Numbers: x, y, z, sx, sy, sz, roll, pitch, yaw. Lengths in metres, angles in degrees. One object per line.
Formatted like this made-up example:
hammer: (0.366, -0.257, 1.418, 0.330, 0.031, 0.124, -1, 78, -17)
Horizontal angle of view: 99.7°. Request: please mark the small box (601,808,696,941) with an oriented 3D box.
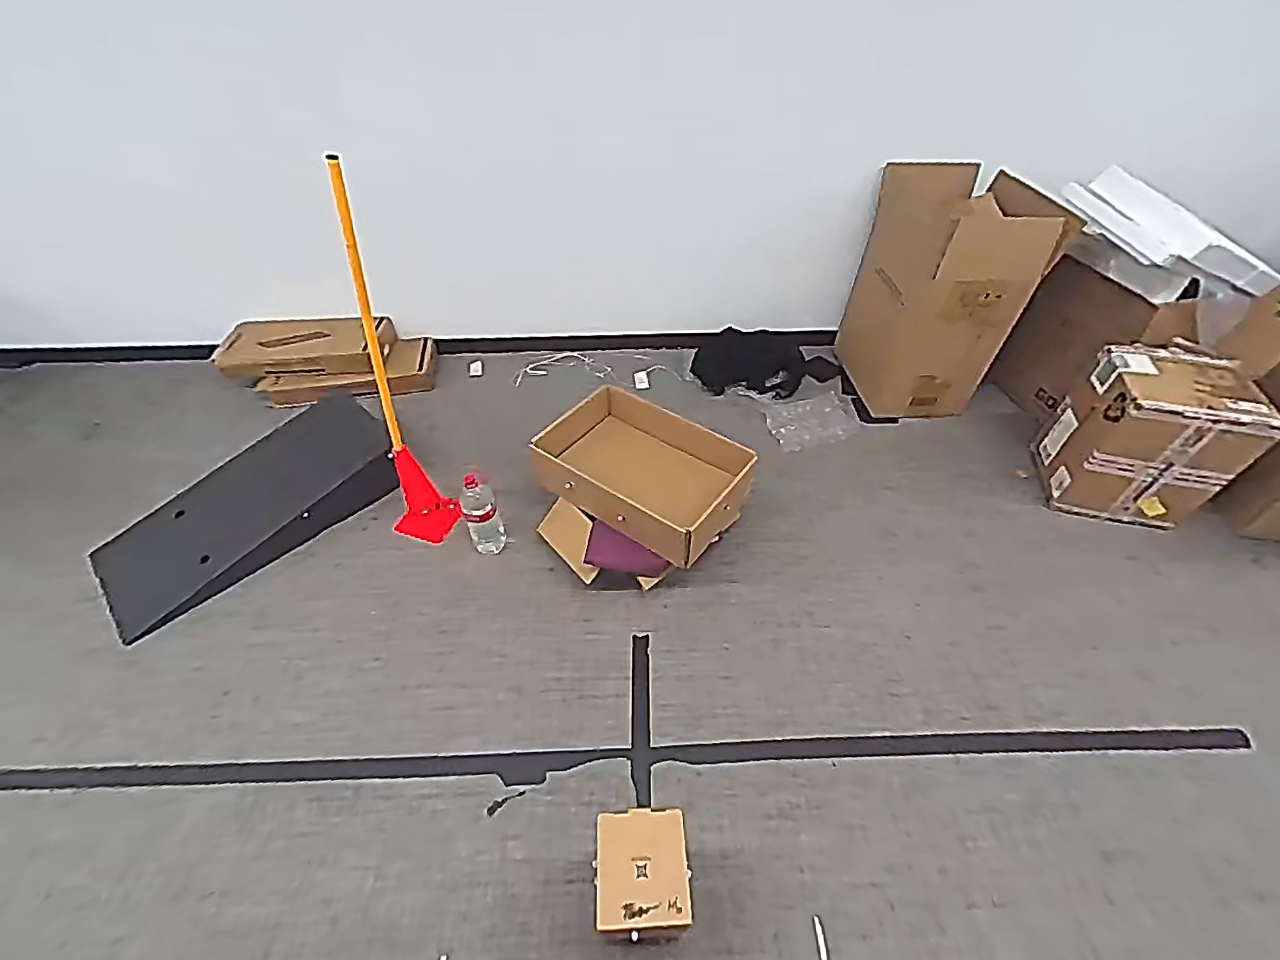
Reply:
small box: (0.012, 0.753, 1.033, 0.168, 0.176, 0.179, -3, 45, -2)
